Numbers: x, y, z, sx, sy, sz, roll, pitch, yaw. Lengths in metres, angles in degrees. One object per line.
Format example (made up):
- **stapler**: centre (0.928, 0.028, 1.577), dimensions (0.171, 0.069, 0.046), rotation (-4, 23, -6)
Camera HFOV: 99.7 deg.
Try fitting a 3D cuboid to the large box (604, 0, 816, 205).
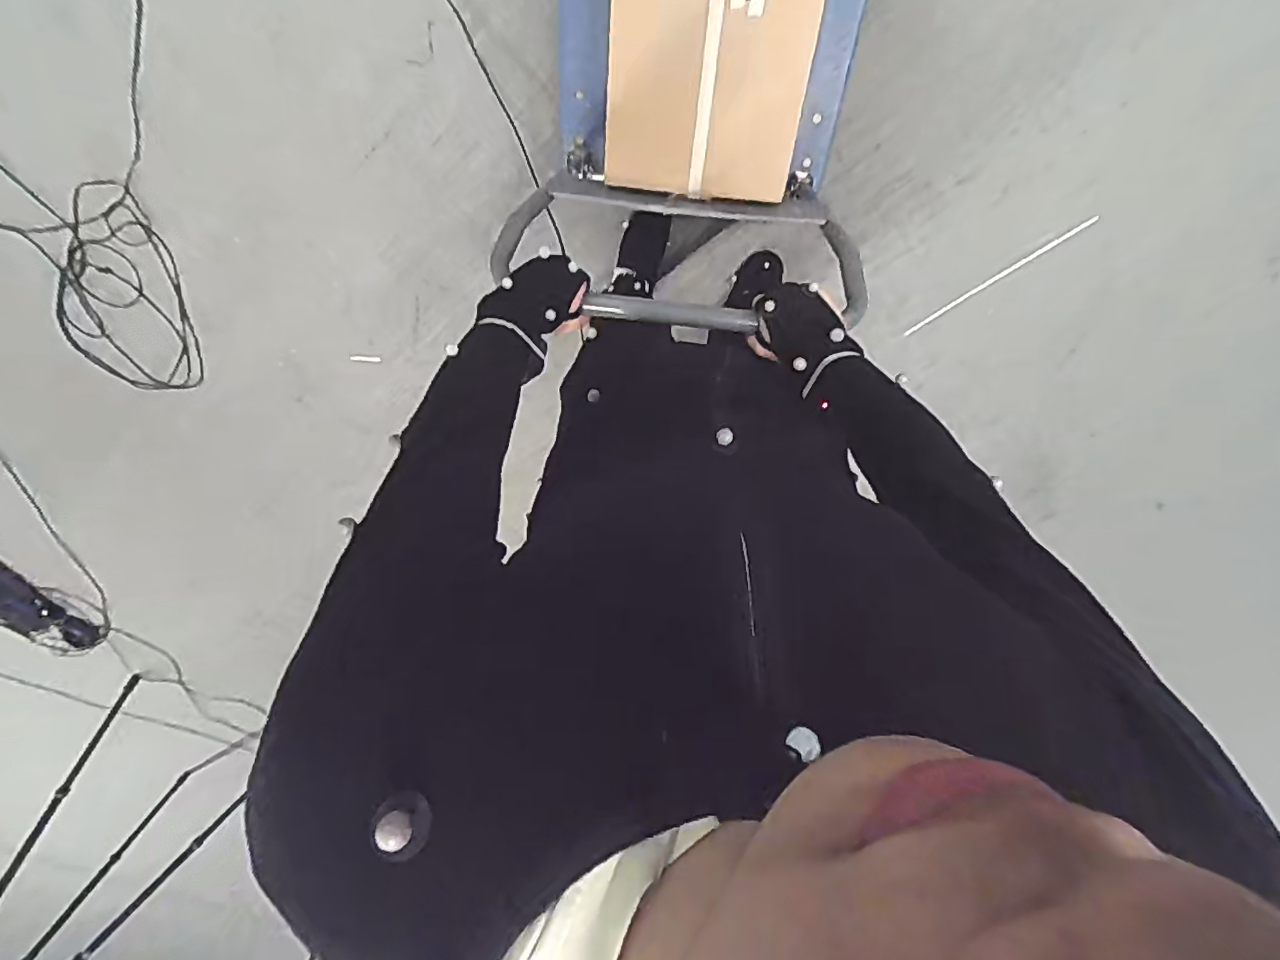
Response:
- **large box**: centre (0.119, -0.743, 0.969), dimensions (0.320, 0.320, 0.408), rotation (7, 124, 2)
